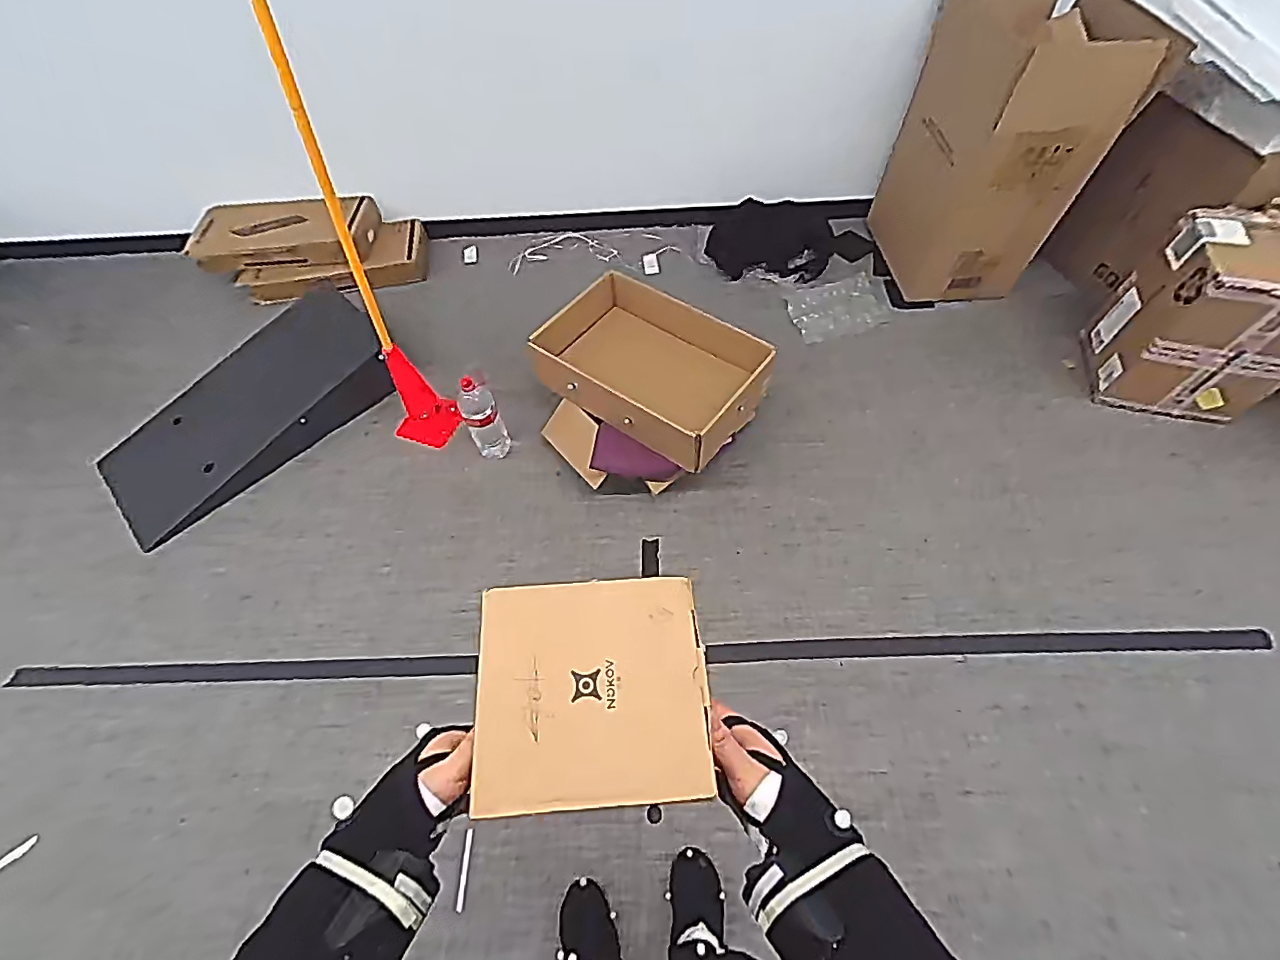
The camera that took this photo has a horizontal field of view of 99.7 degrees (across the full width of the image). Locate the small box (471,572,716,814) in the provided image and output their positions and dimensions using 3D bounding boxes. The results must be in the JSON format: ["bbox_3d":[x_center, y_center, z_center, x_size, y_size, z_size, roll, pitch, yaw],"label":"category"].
[{"bbox_3d":[-0.039,0.195,0.488,0.179,0.176,0.168,-5,59,-2],"label":"small box"}]
